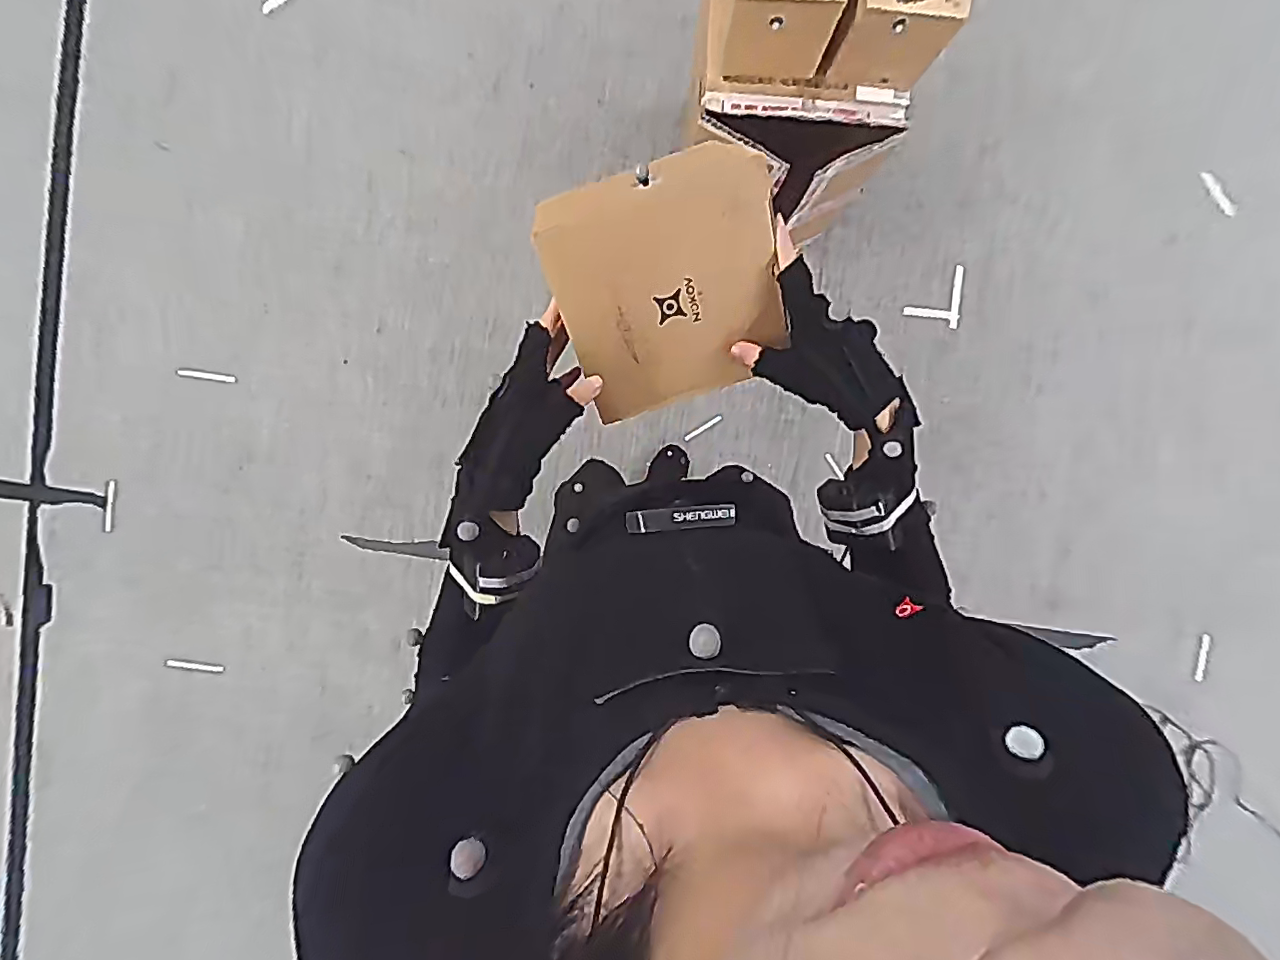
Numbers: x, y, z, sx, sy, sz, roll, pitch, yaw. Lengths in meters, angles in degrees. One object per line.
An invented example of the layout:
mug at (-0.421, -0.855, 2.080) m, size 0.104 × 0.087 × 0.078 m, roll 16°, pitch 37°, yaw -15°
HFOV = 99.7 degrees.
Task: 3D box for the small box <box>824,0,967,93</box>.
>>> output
small box at (0.425, -0.807, 0.914) m, size 0.168 × 0.176 × 0.179 m, roll 4°, pitch 91°, yaw -4°

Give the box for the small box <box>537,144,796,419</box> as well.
small box at (0.019, -0.184, 0.485) m, size 0.179 × 0.176 × 0.168 m, roll -18°, pitch 123°, yaw 4°

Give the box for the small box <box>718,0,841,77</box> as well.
small box at (0.228, -0.816, 0.907) m, size 0.179 × 0.176 × 0.168 m, roll 1°, pitch 91°, yaw -1°
